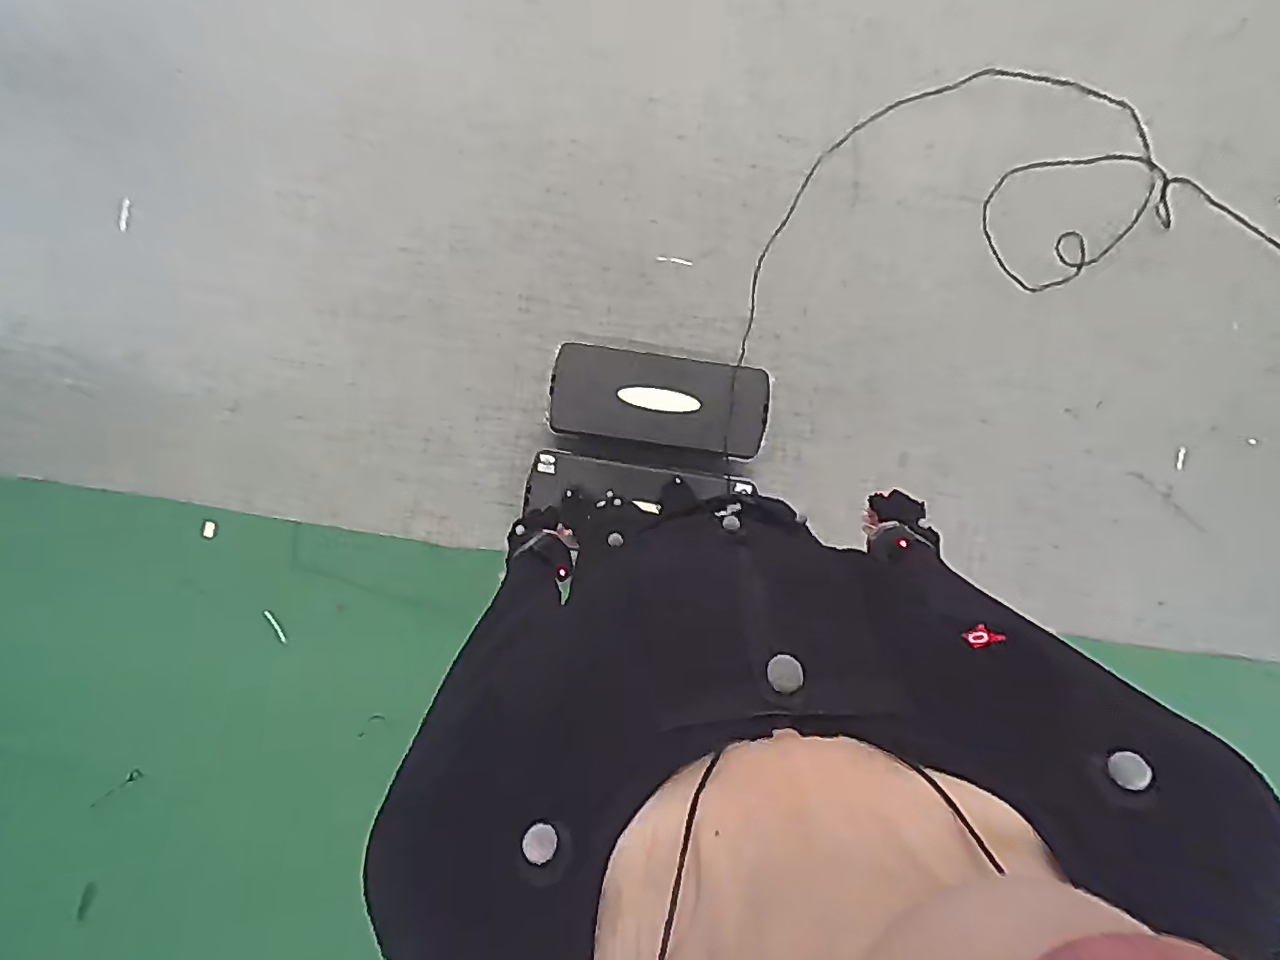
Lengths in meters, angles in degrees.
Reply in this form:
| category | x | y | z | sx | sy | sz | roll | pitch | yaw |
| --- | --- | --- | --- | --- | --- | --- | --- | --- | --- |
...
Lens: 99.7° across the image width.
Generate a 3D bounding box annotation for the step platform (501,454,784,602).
| category | x | y | z | sx | sy | sz | roll | pitch | yaw |
| --- | --- | --- | --- | --- | --- | --- | --- | --- | --- |
| step platform | 0.005 | 0.117 | 1.396 | 0.684 | 0.204 | 0.286 | 8 | 89 | -1 |
